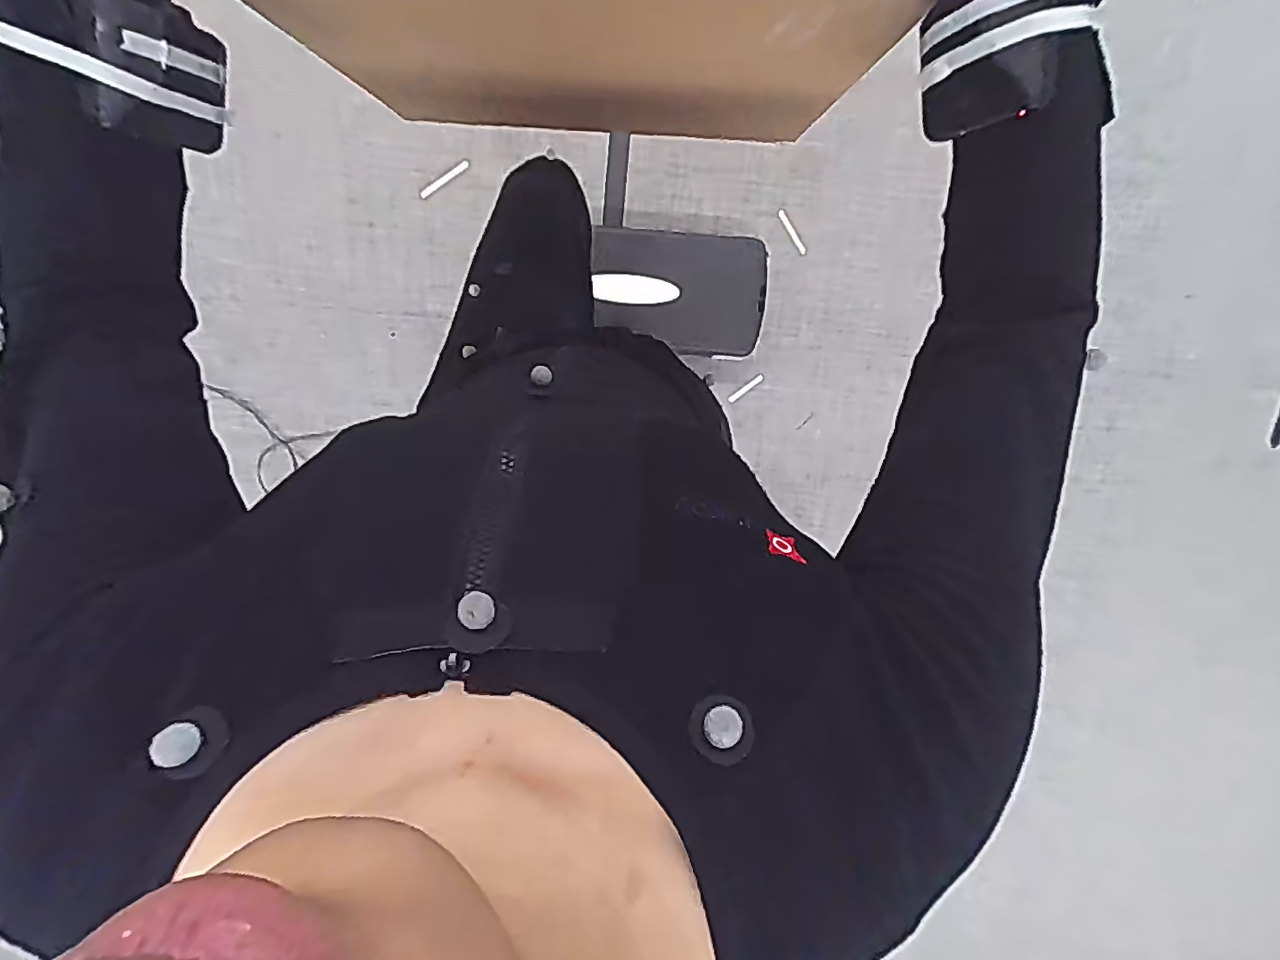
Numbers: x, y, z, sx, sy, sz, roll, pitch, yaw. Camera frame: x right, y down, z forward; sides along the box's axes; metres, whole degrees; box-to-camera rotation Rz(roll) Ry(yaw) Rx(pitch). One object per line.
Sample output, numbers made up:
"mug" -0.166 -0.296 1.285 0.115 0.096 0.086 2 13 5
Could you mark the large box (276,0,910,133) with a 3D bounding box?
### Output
"large box" -0.032 -0.462 0.371 0.408 0.320 0.320 2 109 -1
